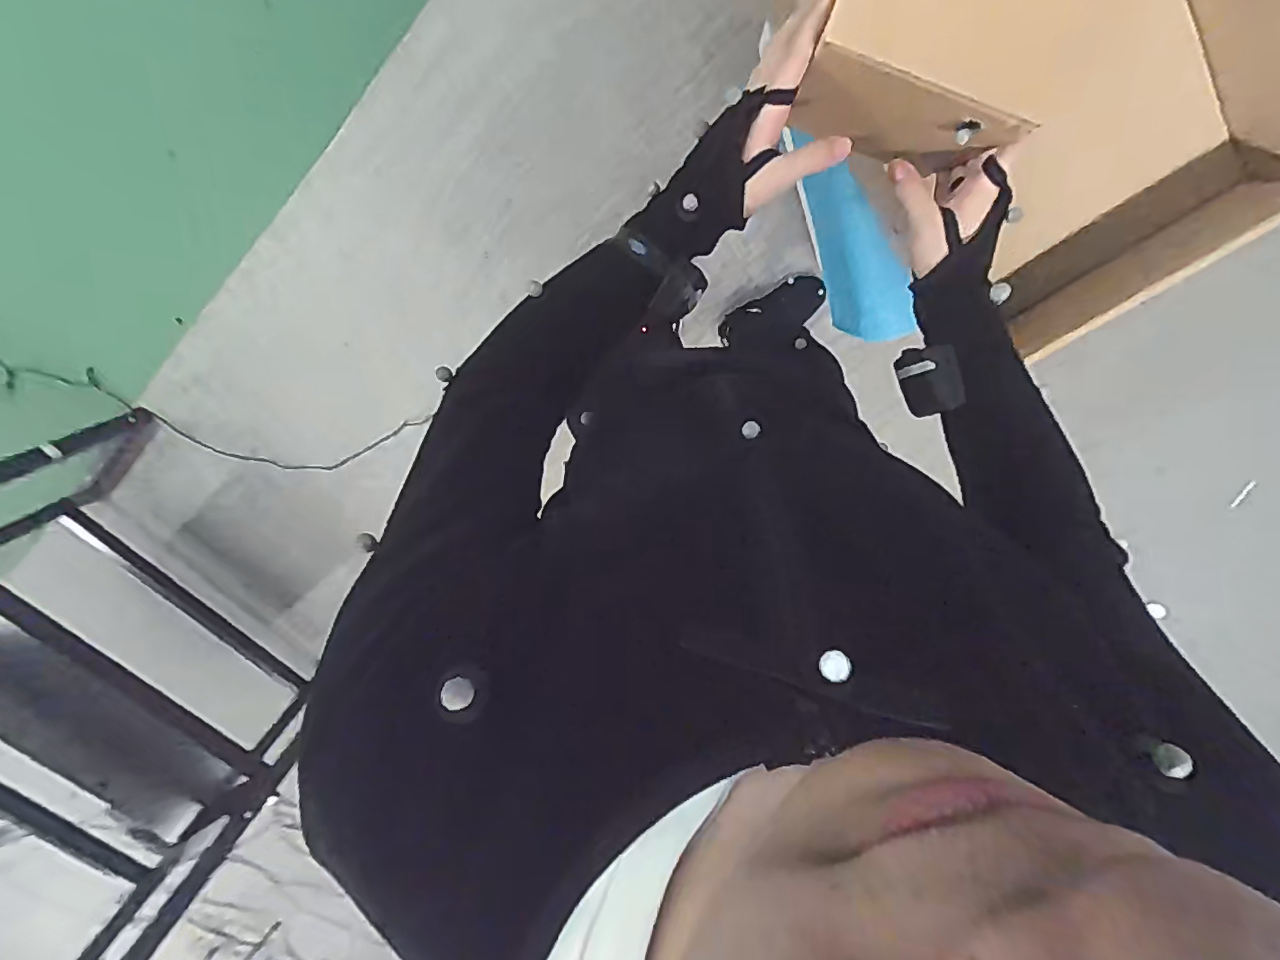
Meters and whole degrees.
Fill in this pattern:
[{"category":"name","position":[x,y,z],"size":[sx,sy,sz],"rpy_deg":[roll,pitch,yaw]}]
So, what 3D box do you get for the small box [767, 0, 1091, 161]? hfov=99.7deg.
[{"category":"small box","position":[0.220,-0.377,0.425],"size":[0.179,0.176,0.168],"rpy_deg":[15,109,-7]}]
